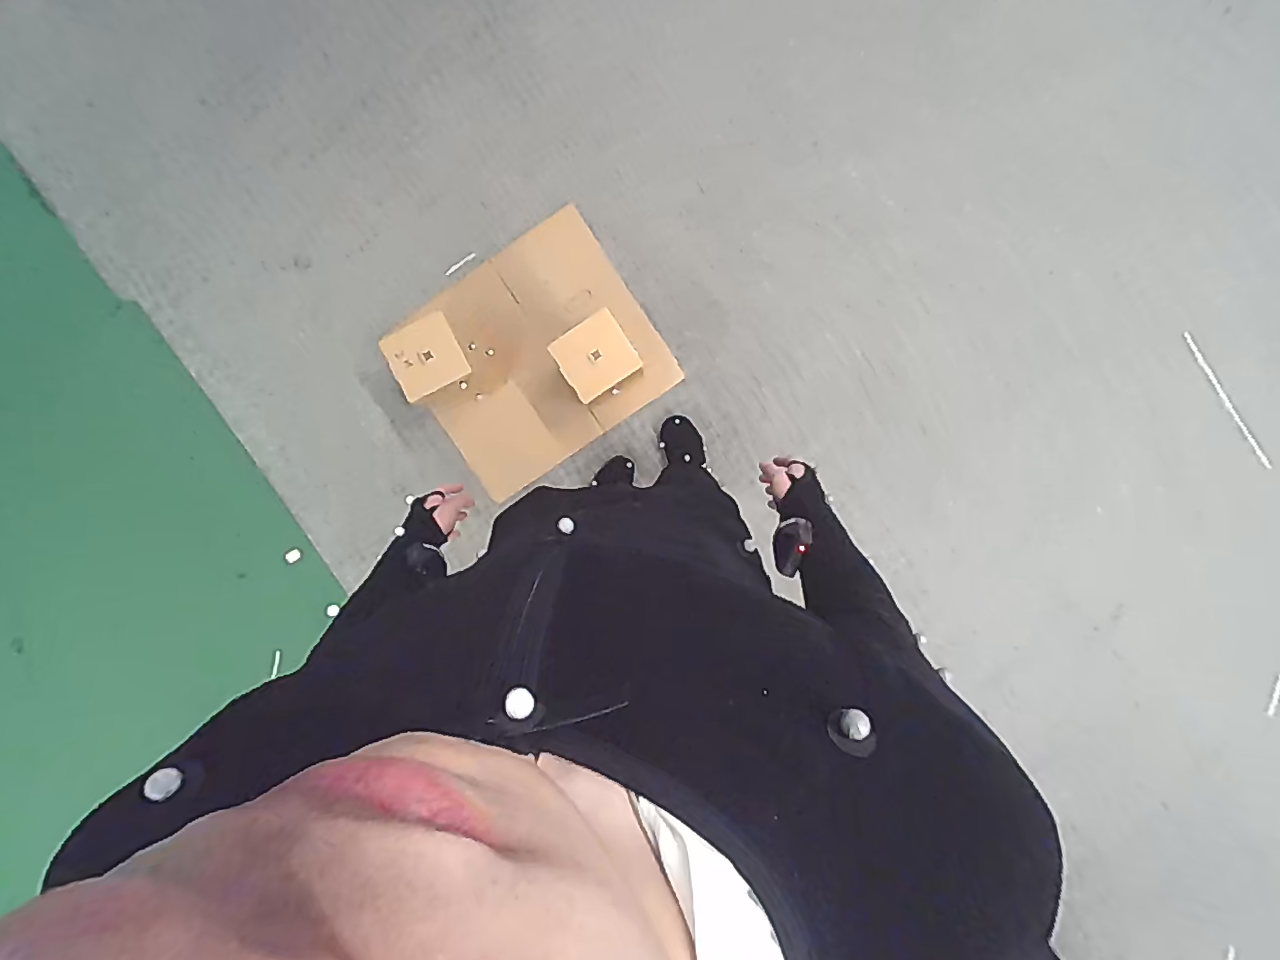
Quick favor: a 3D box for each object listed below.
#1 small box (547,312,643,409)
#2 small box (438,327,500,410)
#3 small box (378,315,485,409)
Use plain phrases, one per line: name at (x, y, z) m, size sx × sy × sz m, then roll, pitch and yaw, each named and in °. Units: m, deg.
small box at (-0.107, -0.294, 1.360) m, size 0.179 × 0.176 × 0.168 m, roll -34°, pitch 94°, yaw 5°
small box at (-0.513, -0.308, 1.527) m, size 0.179 × 0.176 × 0.168 m, roll -26°, pitch 94°, yaw 3°
small box at (-0.510, -0.290, 1.361) m, size 0.179 × 0.176 × 0.168 m, roll -26°, pitch 93°, yaw 3°
